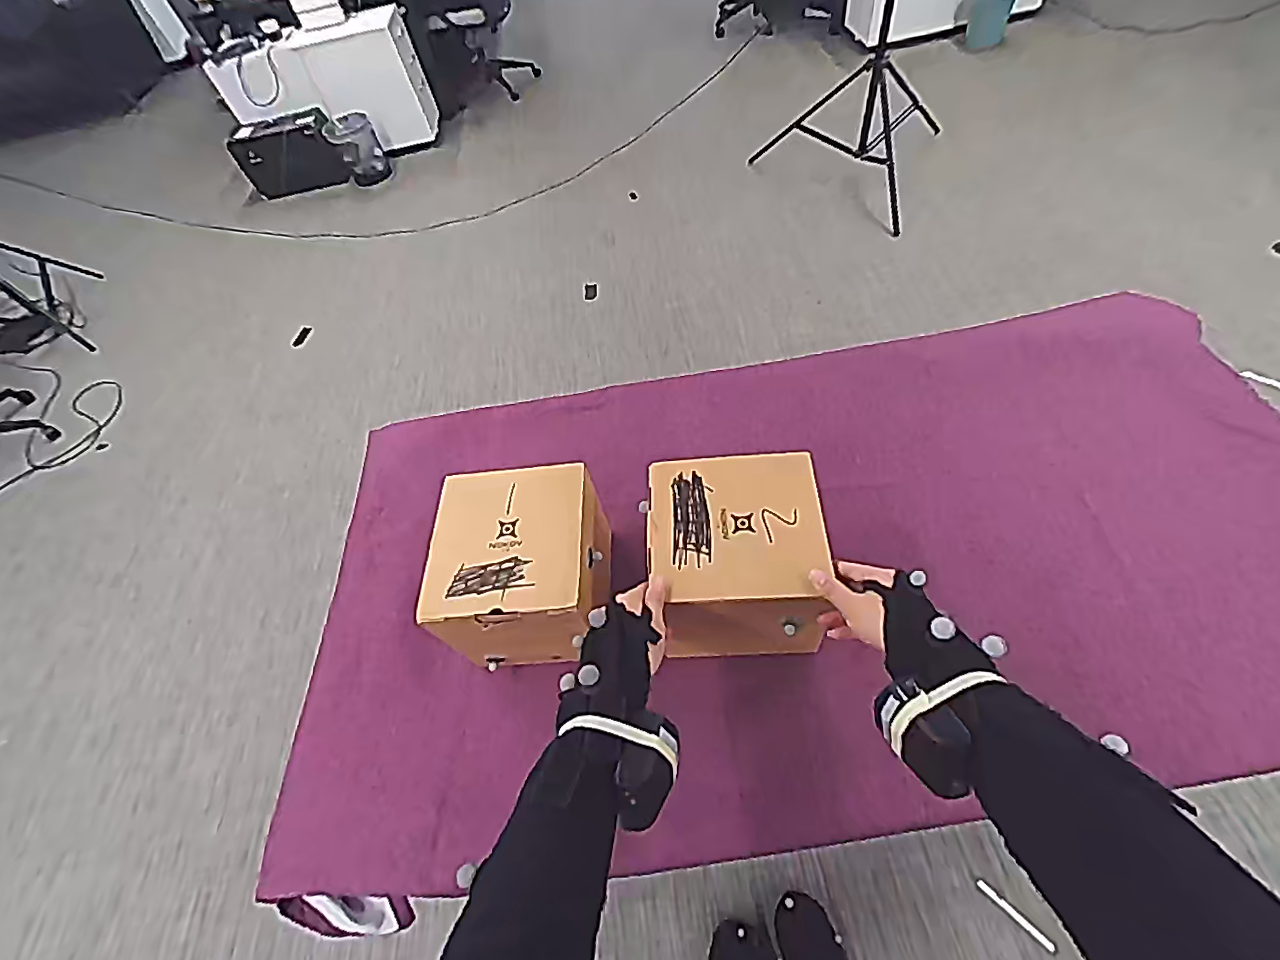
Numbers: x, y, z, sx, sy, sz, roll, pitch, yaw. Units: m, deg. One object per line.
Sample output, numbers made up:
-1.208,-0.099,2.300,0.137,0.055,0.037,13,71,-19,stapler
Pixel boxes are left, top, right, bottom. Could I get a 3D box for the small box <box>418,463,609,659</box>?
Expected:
-0.131,0.104,0.638,0.168,0.176,0.179,-5,55,5,small box
